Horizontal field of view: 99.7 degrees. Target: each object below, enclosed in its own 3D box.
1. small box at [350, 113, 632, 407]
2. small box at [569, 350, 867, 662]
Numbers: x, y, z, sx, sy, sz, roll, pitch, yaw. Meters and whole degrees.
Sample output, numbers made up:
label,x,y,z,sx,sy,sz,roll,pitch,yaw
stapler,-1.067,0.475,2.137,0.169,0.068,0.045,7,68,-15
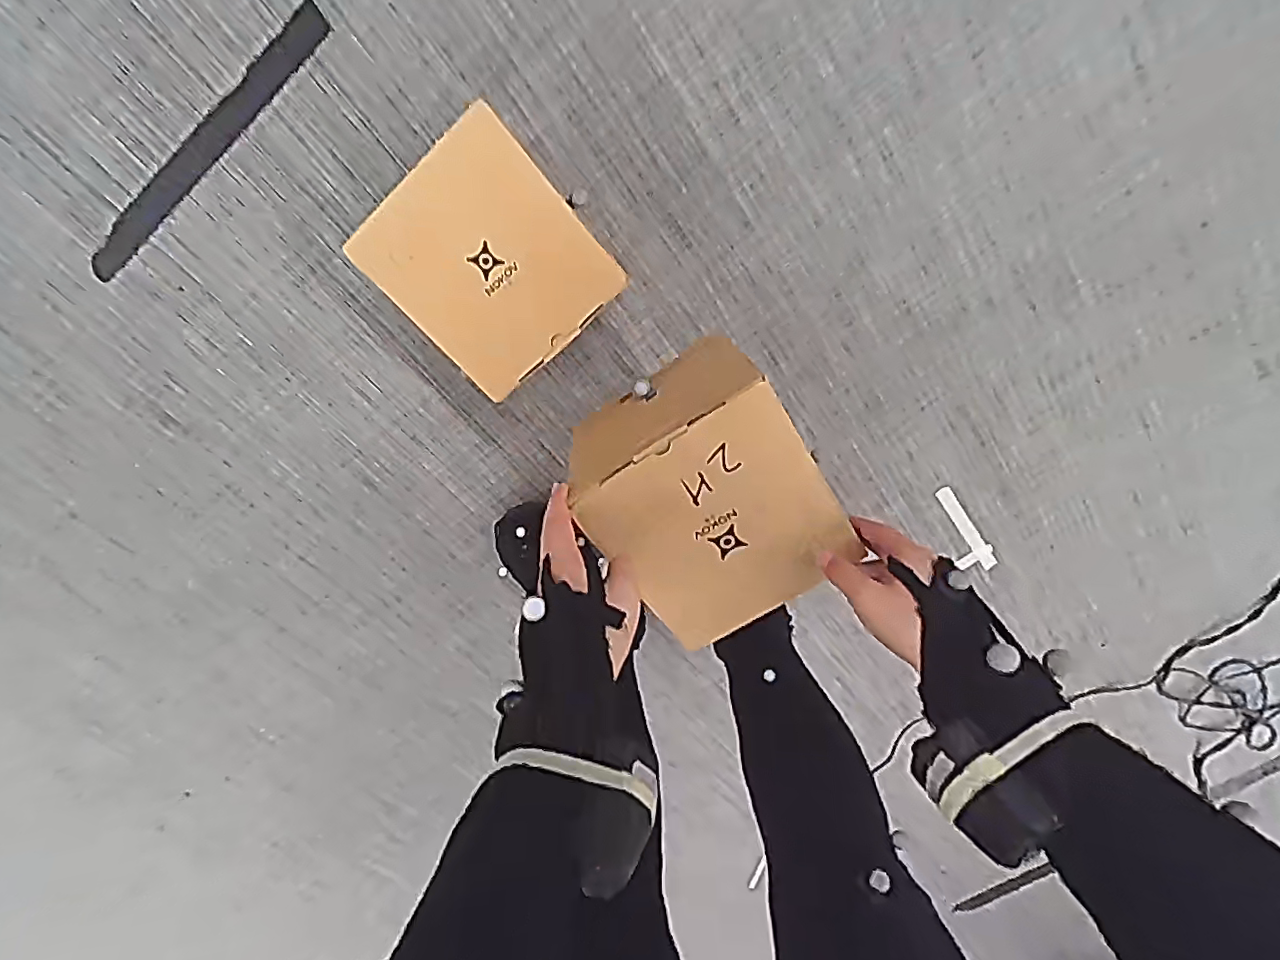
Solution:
label,x,y,z,sx,sy,sz,roll,pitch,yaw
small box,-0.130,-0.204,0.528,0.168,0.176,0.179,-39,112,11
small box,0.058,0.013,0.470,0.168,0.176,0.179,-33,113,10
